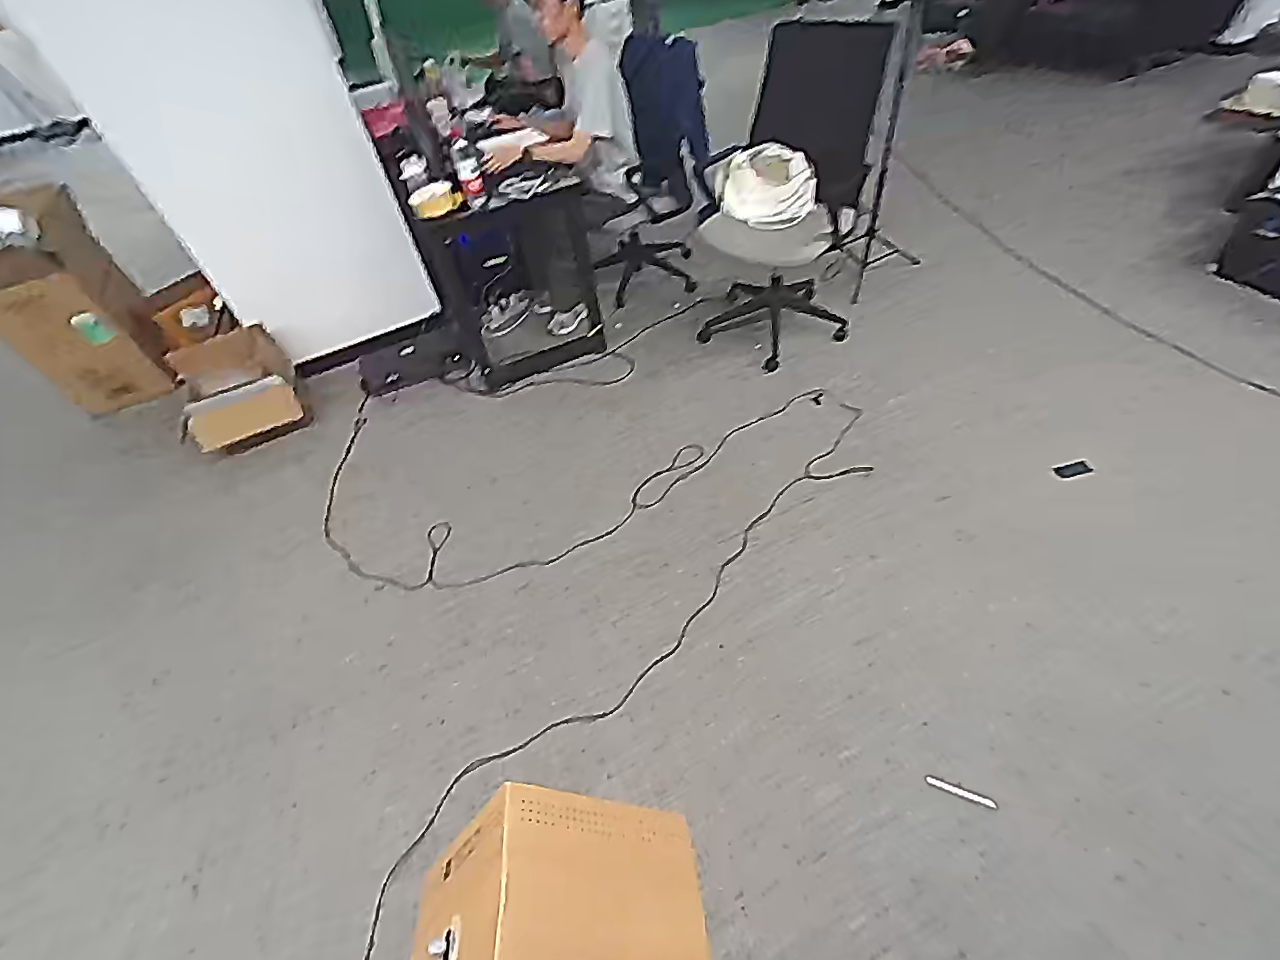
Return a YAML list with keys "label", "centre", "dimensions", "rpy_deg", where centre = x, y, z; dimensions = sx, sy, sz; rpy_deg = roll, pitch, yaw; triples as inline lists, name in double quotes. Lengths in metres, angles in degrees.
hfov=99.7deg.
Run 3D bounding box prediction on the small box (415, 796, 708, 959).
- label: "small box"
  centre: [-0.064, 0.369, 0.408]
  dimensions: [0.179, 0.168, 0.176]
  rpy_deg: [26, 27, -24]
